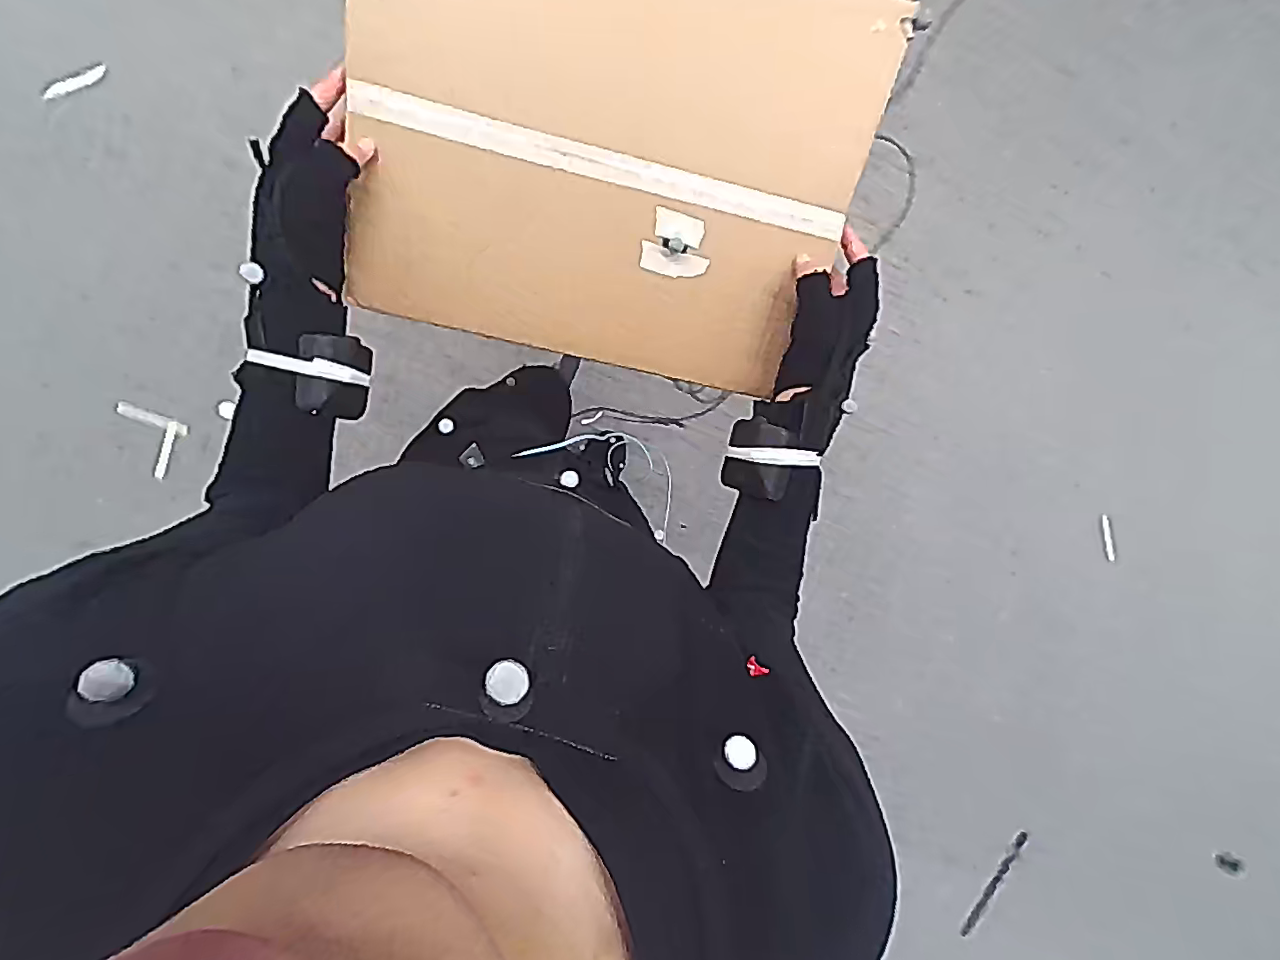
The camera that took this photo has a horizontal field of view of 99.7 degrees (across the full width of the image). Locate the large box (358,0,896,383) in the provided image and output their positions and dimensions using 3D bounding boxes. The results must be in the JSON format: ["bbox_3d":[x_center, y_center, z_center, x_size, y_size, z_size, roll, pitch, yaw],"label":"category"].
[{"bbox_3d":[-0.036,-0.323,0.583,0.408,0.320,0.320,11,114,-8],"label":"large box"}]
